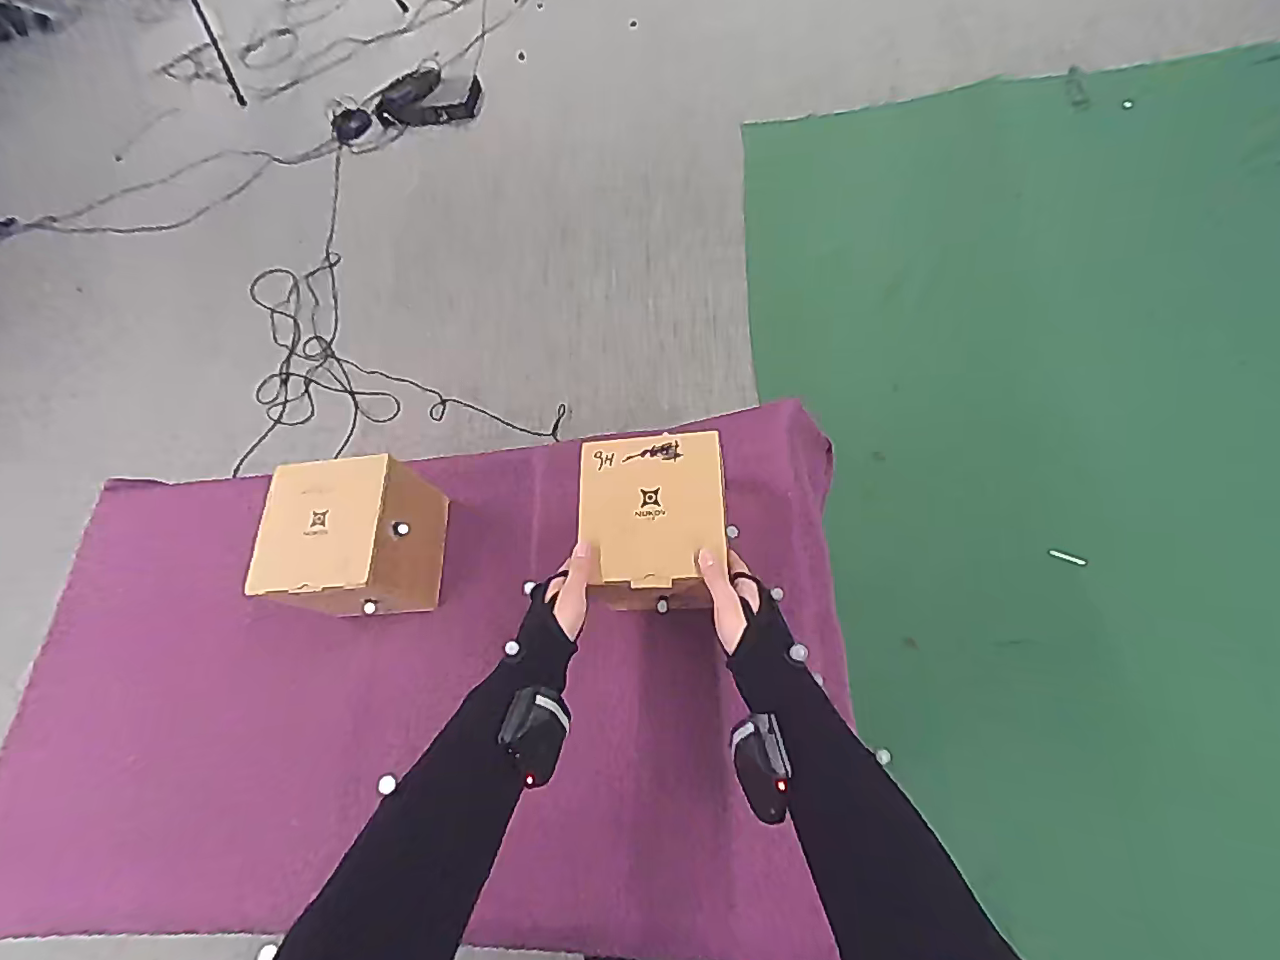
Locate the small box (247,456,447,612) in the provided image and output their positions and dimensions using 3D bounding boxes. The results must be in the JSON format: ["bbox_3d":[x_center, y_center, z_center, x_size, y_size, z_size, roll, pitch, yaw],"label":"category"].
[{"bbox_3d":[-0.389,0.085,0.753,0.168,0.176,0.179,-5,66,9],"label":"small box"}]

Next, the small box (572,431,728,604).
[{"bbox_3d":[0.021,0.058,0.679,0.168,0.176,0.179,-5,67,10],"label":"small box"}]
